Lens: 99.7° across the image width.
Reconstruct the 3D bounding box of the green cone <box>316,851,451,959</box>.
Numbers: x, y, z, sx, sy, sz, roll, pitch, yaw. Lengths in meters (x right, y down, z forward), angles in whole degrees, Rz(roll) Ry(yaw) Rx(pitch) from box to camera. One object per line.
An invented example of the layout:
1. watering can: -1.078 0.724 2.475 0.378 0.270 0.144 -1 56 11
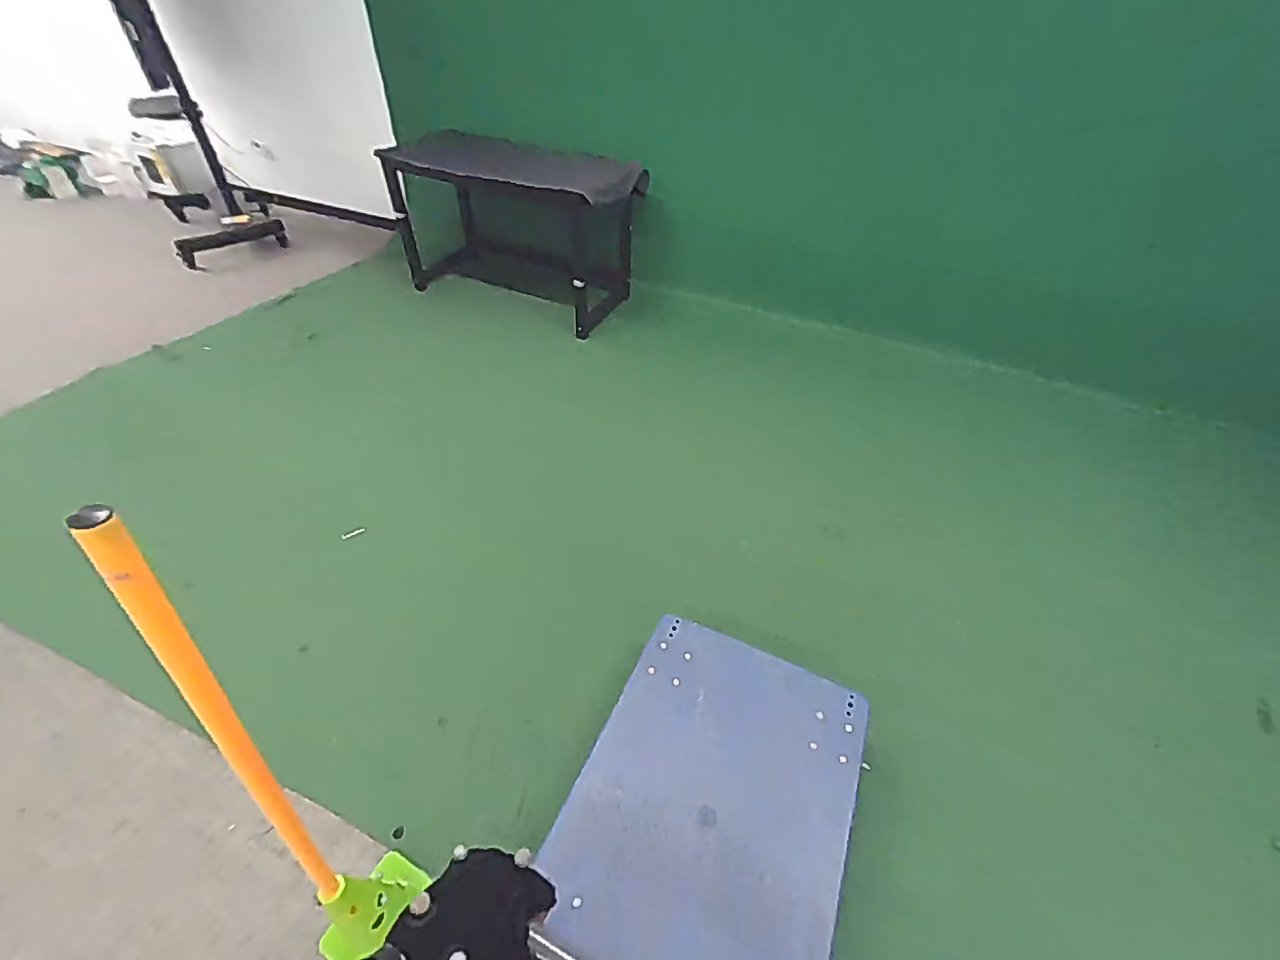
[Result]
1. green cone: -0.526 0.806 1.030 0.202 0.368 0.200 21 45 19
